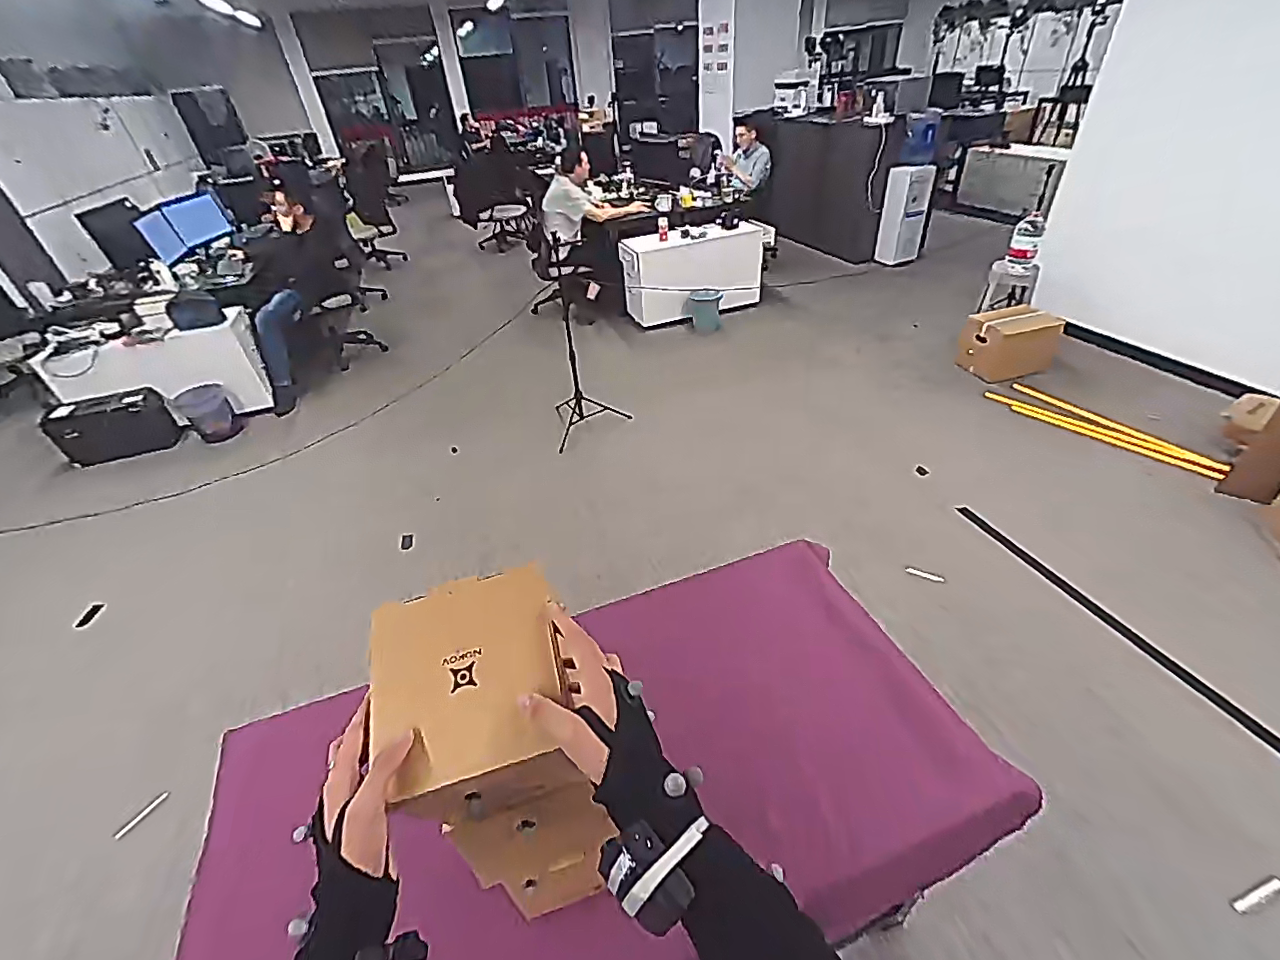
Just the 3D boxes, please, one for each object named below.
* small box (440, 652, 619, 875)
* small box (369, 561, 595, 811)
[{"bbox_3d":[-0.134,0.351,0.673,0.179,0.176,0.168,-13,38,-10],"label":"small box"},{"bbox_3d":[-0.149,0.214,0.546,0.168,0.176,0.179,-15,52,-6],"label":"small box"}]
